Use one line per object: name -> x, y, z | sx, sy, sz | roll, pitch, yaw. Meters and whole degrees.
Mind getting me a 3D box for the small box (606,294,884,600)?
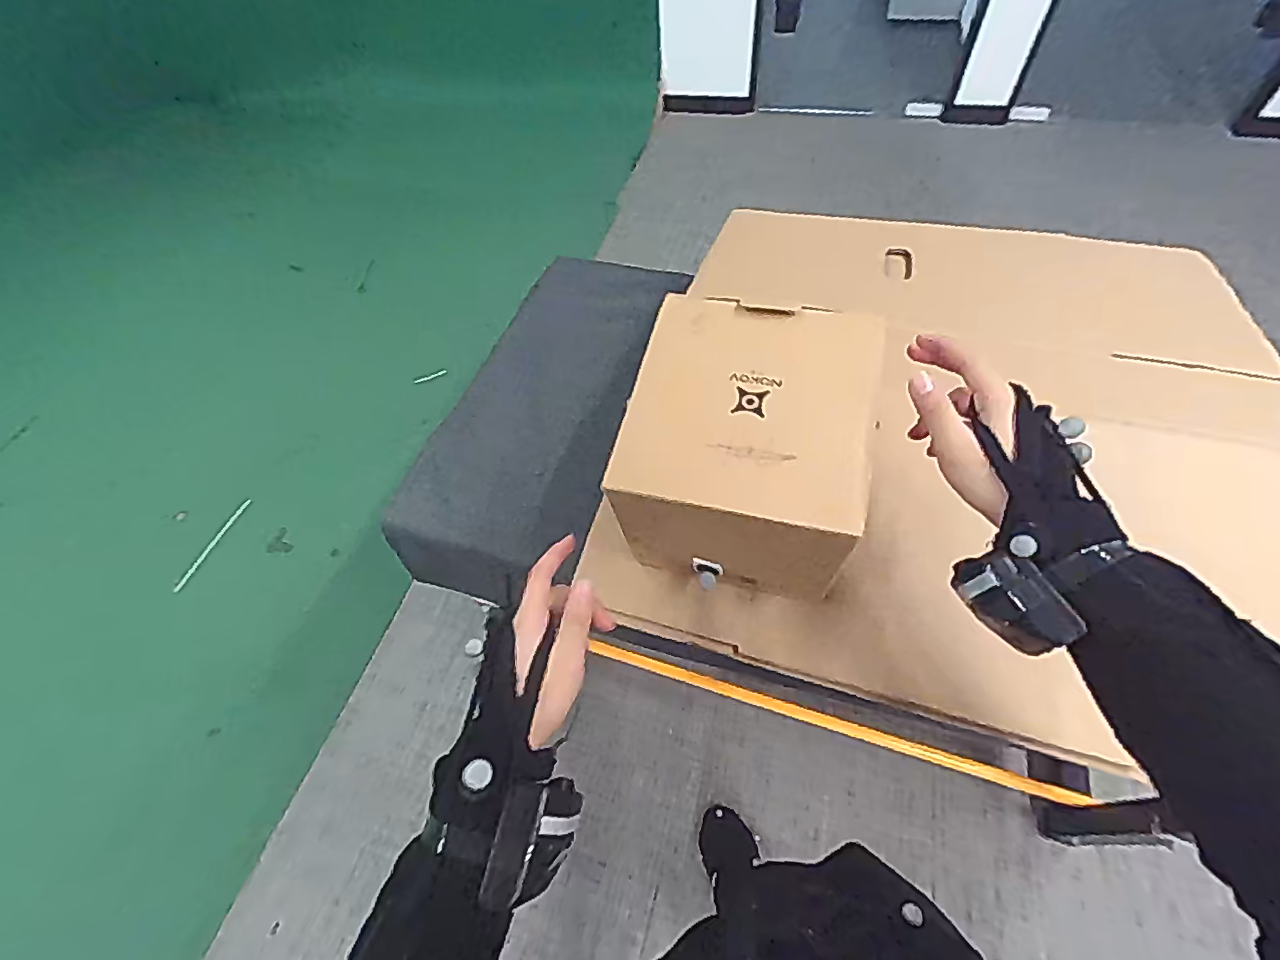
small box -> 0.086, -0.020, 0.445 | 0.168, 0.176, 0.179 | 11, 66, 14
